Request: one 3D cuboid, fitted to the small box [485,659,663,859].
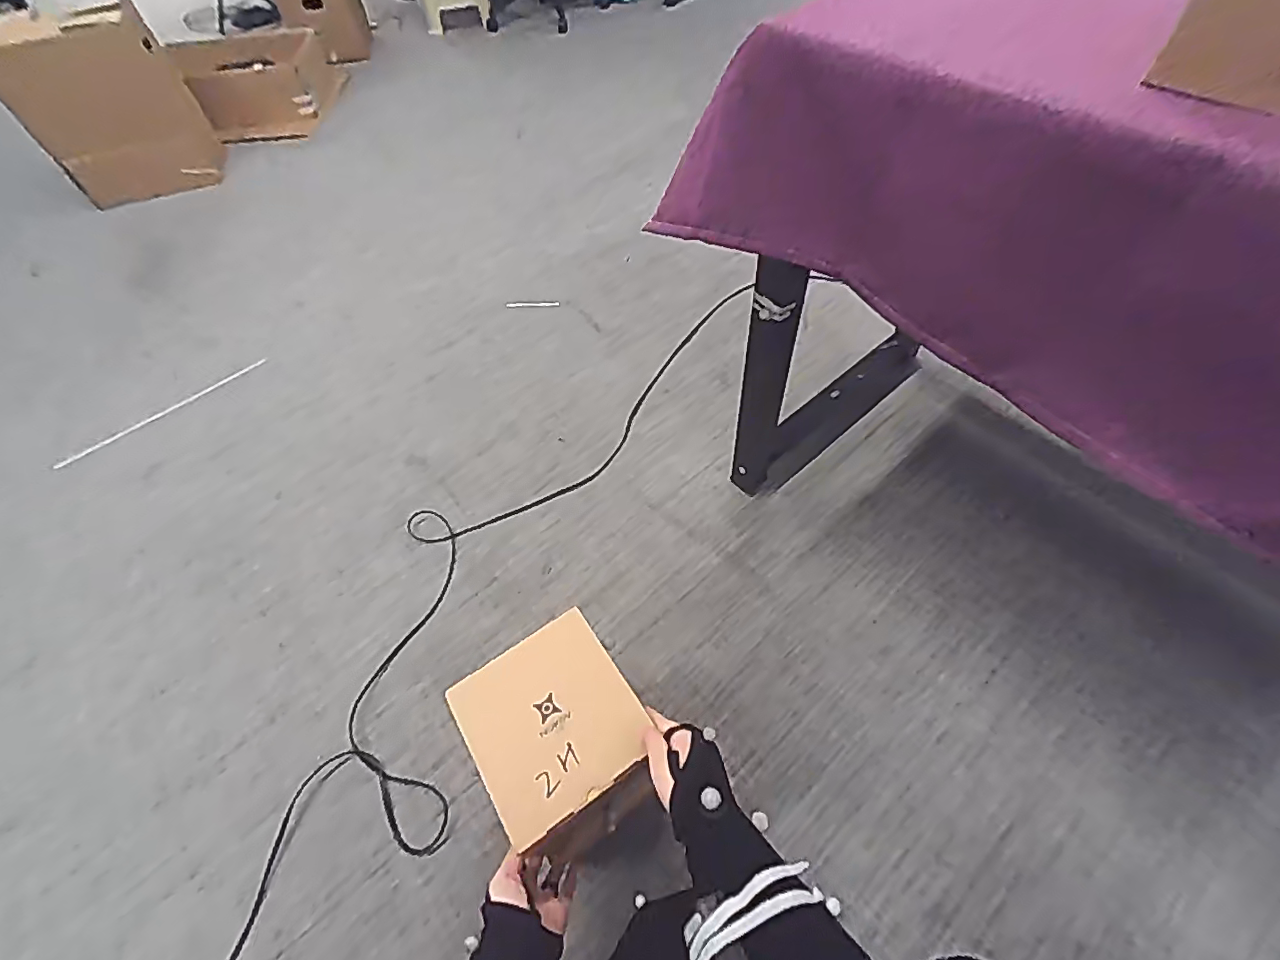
[{"bbox_3d":[-0.080,0.387,0.748,0.179,0.176,0.168,-33,60,-19],"label":"small box"}]
